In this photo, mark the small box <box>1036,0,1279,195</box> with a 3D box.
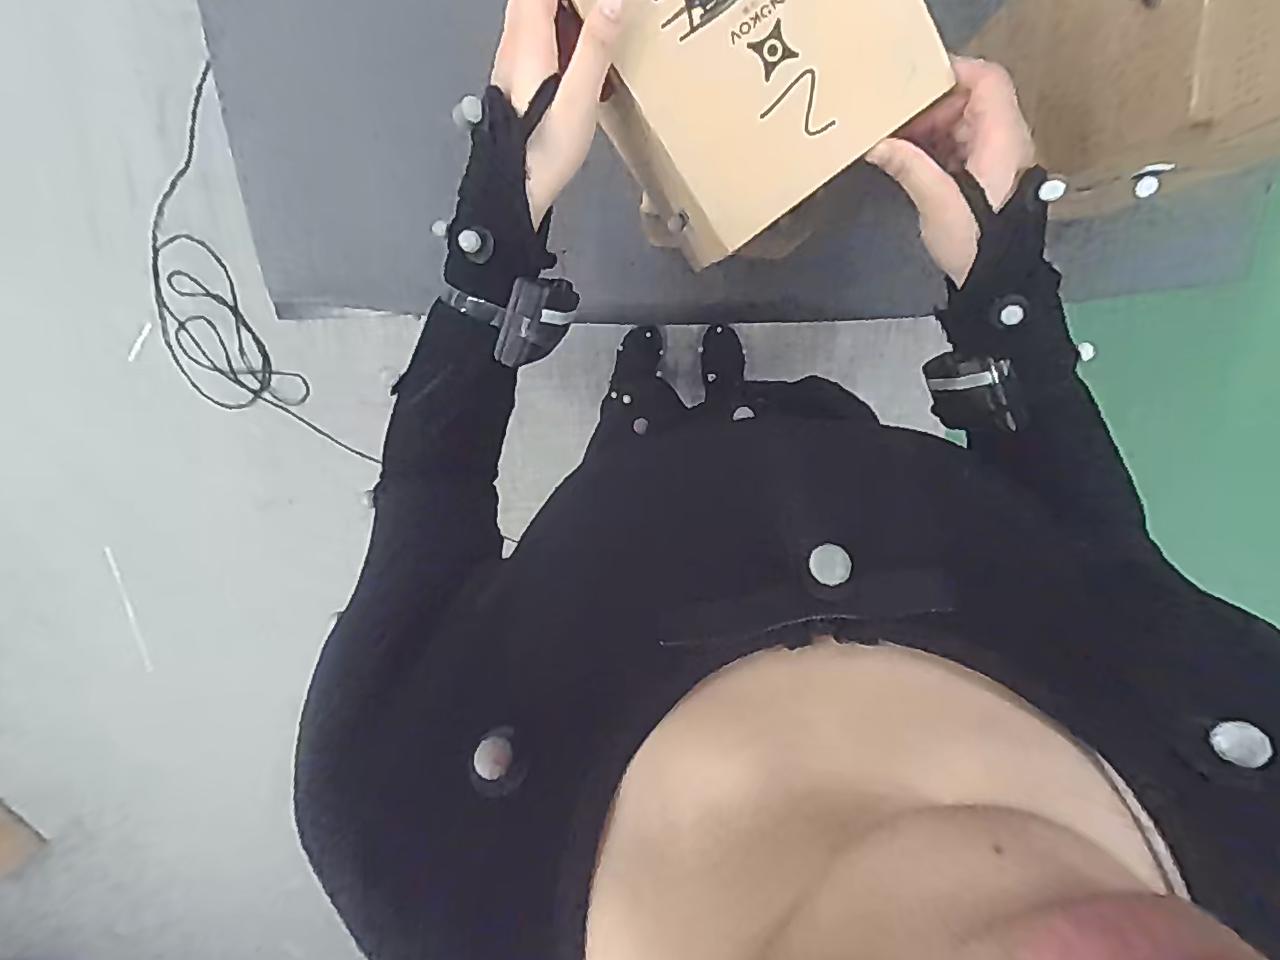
[{"bbox_3d":[0.409,-0.319,0.370,0.168,0.176,0.179,-4,105,8],"label":"small box"}]

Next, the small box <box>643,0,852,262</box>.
[{"bbox_3d":[0.098,-0.340,0.562,0.168,0.176,0.179,7,104,3],"label":"small box"}]

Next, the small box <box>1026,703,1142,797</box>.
[{"bbox_3d":[1.261,0.769,1.555,0.179,0.176,0.168,7,107,2],"label":"small box"}]

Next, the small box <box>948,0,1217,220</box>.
[{"bbox_3d":[0.424,-0.363,0.526,0.168,0.176,0.179,-1,103,6],"label":"small box"}]
